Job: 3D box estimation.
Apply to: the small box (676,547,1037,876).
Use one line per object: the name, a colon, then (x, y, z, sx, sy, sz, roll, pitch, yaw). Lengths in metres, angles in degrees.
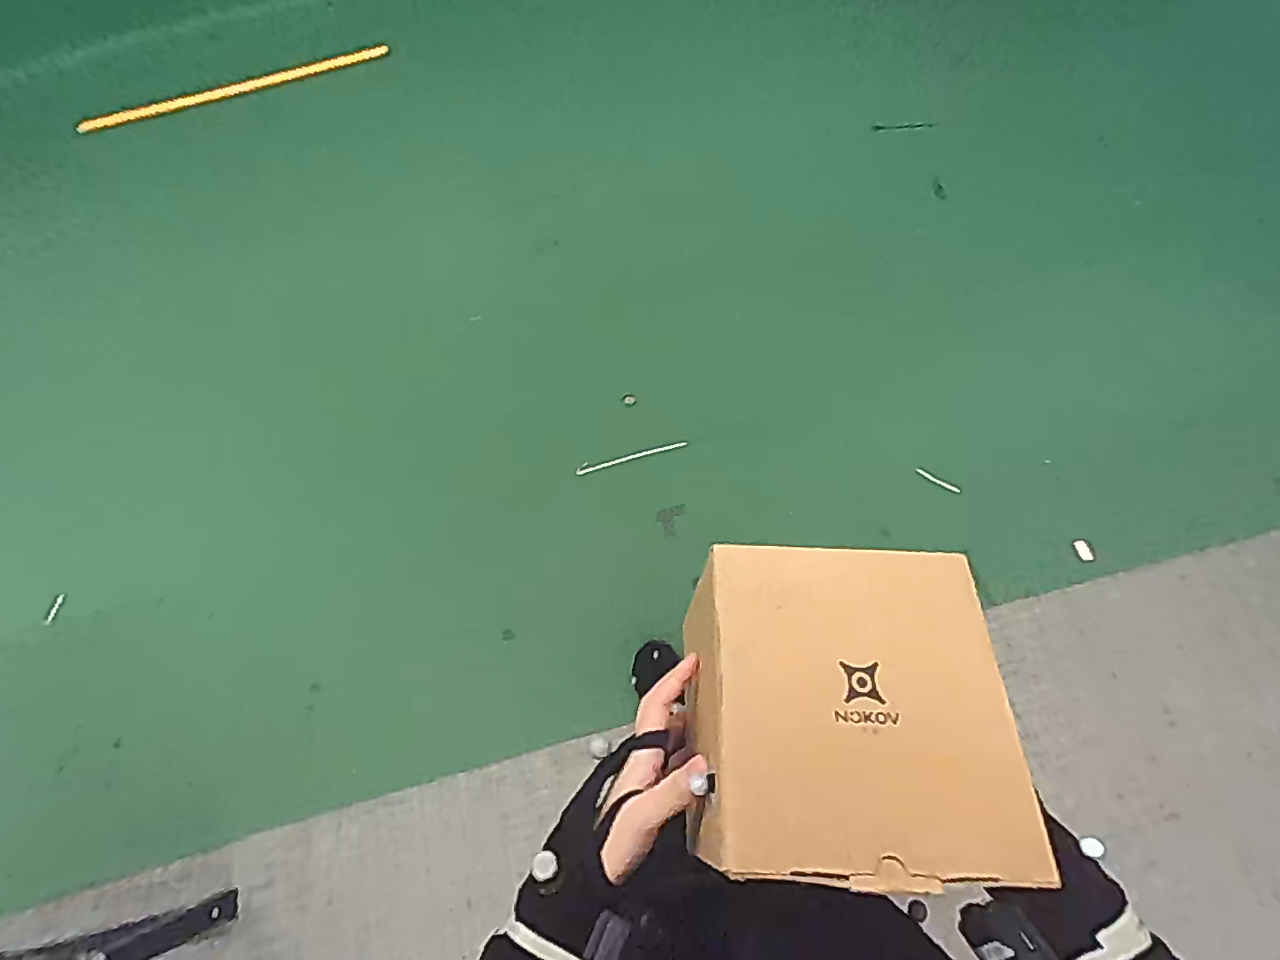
small box: (0.116, 0.160, 0.379, 0.168, 0.176, 0.179, 1, 61, -2)
